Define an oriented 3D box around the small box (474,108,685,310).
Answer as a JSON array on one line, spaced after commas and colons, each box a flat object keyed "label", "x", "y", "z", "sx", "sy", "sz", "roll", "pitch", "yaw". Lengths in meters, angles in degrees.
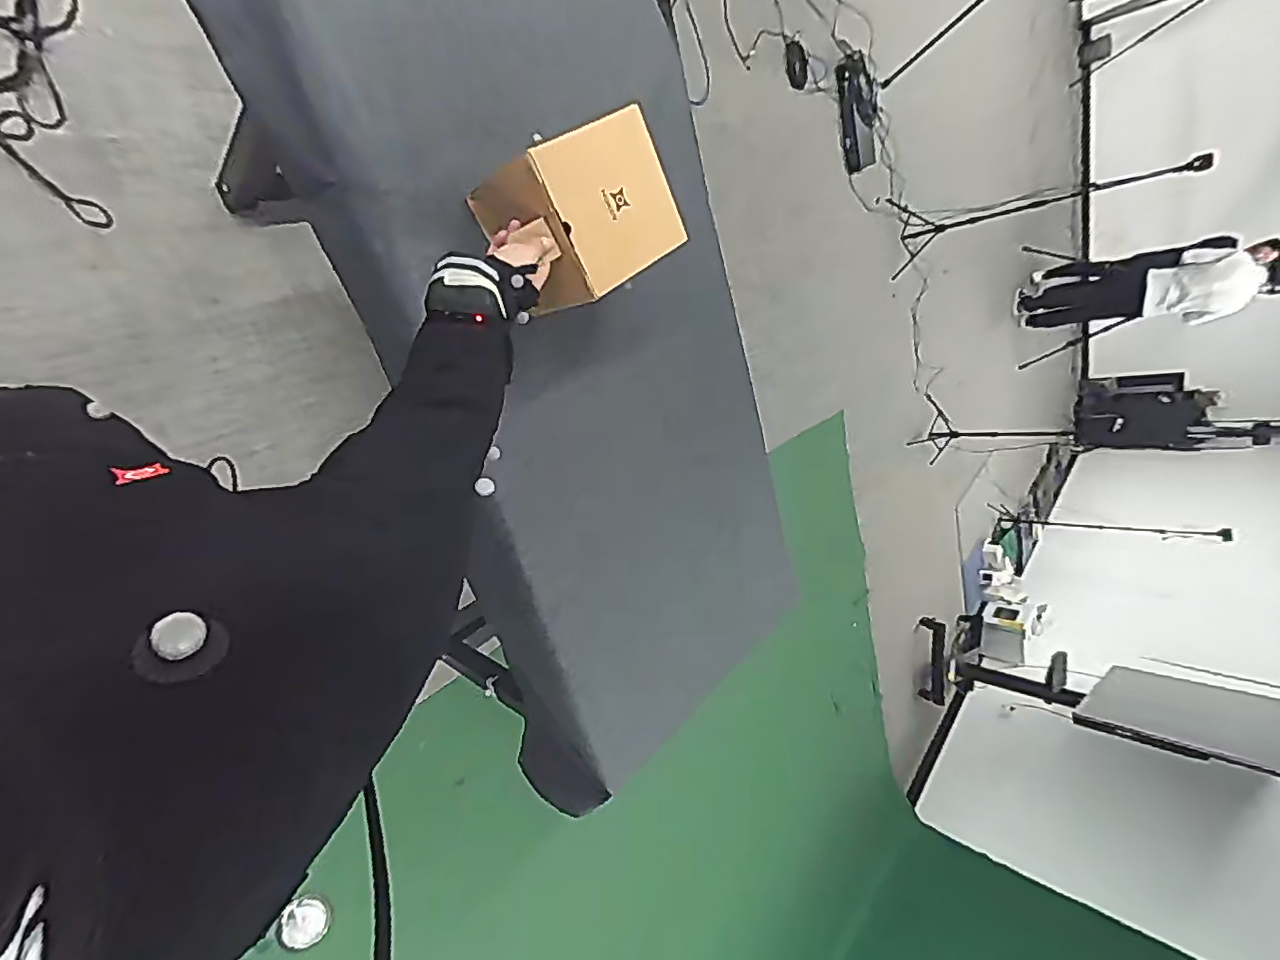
[{"label": "small box", "x": -0.078, "y": -0.339, "z": 0.698, "sx": 0.179, "sy": 0.176, "sz": 0.168, "roll": -43, "pitch": 122, "yaw": -27}]
